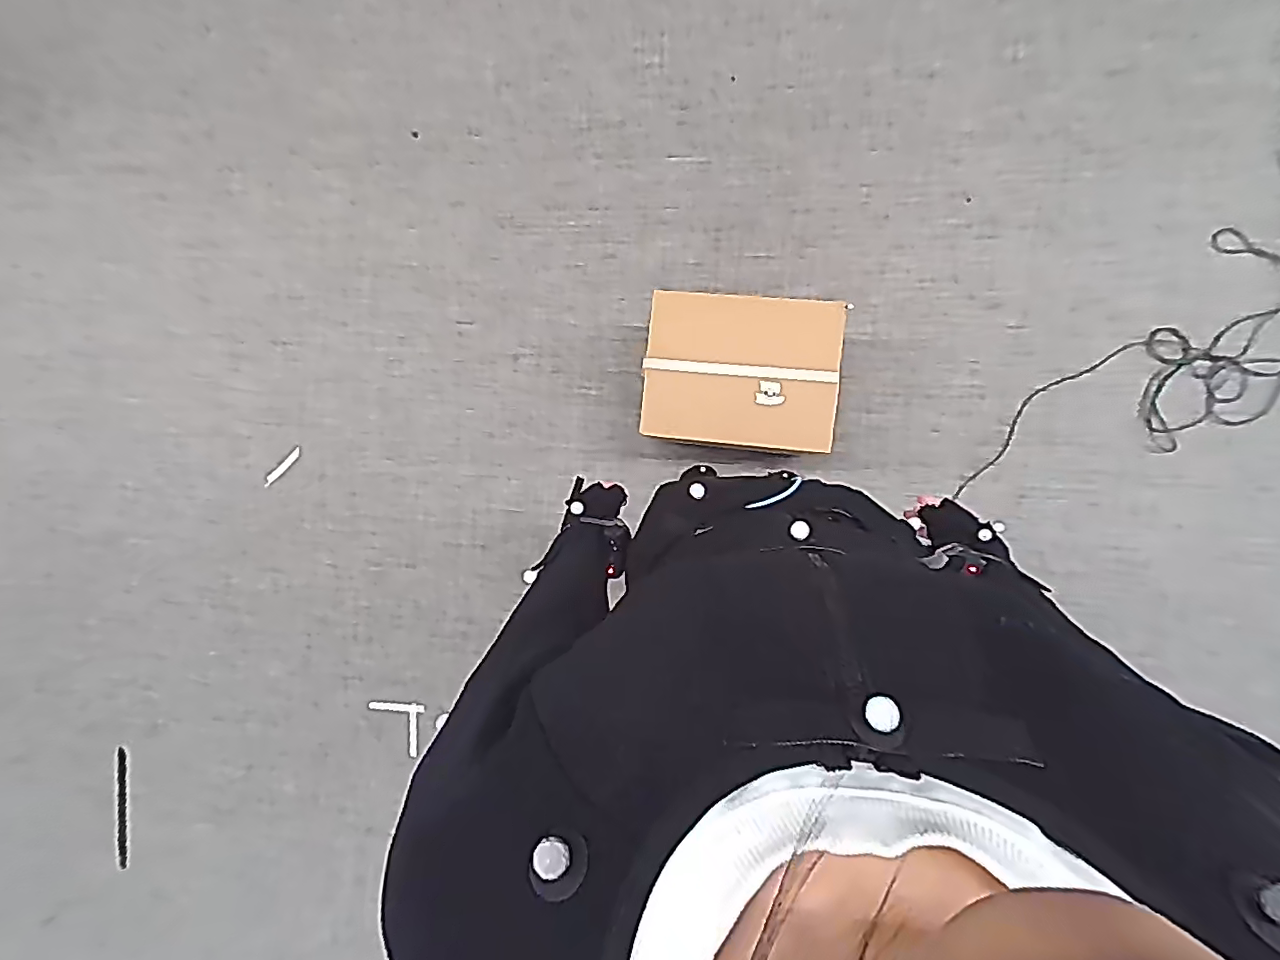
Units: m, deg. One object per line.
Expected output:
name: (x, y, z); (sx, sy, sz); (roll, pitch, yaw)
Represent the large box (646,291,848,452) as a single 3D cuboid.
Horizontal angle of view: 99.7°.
large box: (0.237, -0.238, 1.289); (0.408, 0.320, 0.320); (6, 93, 7)
